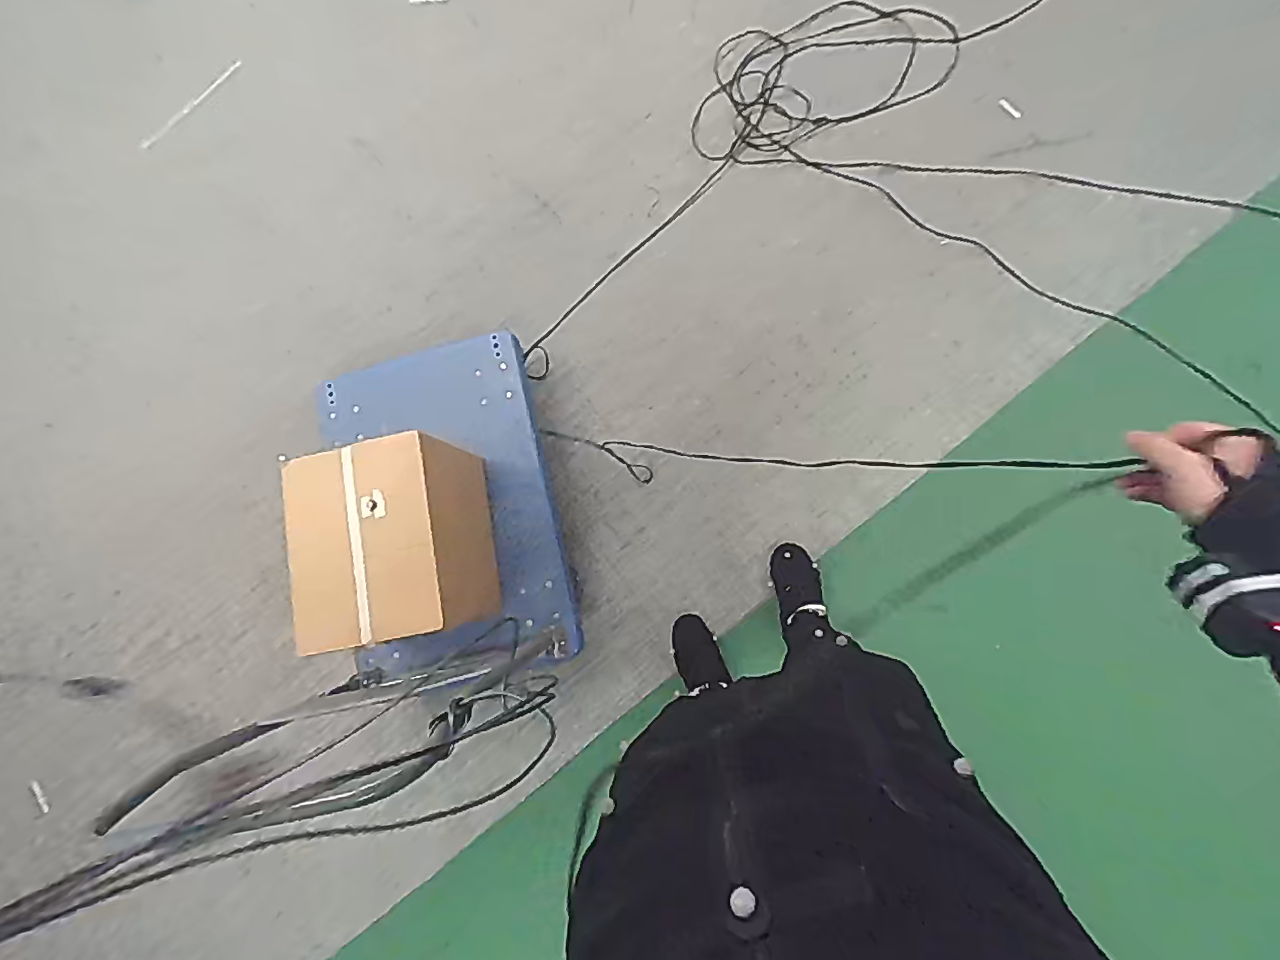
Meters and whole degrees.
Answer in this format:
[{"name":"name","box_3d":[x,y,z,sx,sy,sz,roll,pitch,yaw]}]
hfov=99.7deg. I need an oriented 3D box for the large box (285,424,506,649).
[{"name":"large box","box_3d":[-0.528,0.129,1.216,0.320,0.320,0.408,-12,81,6]}]
